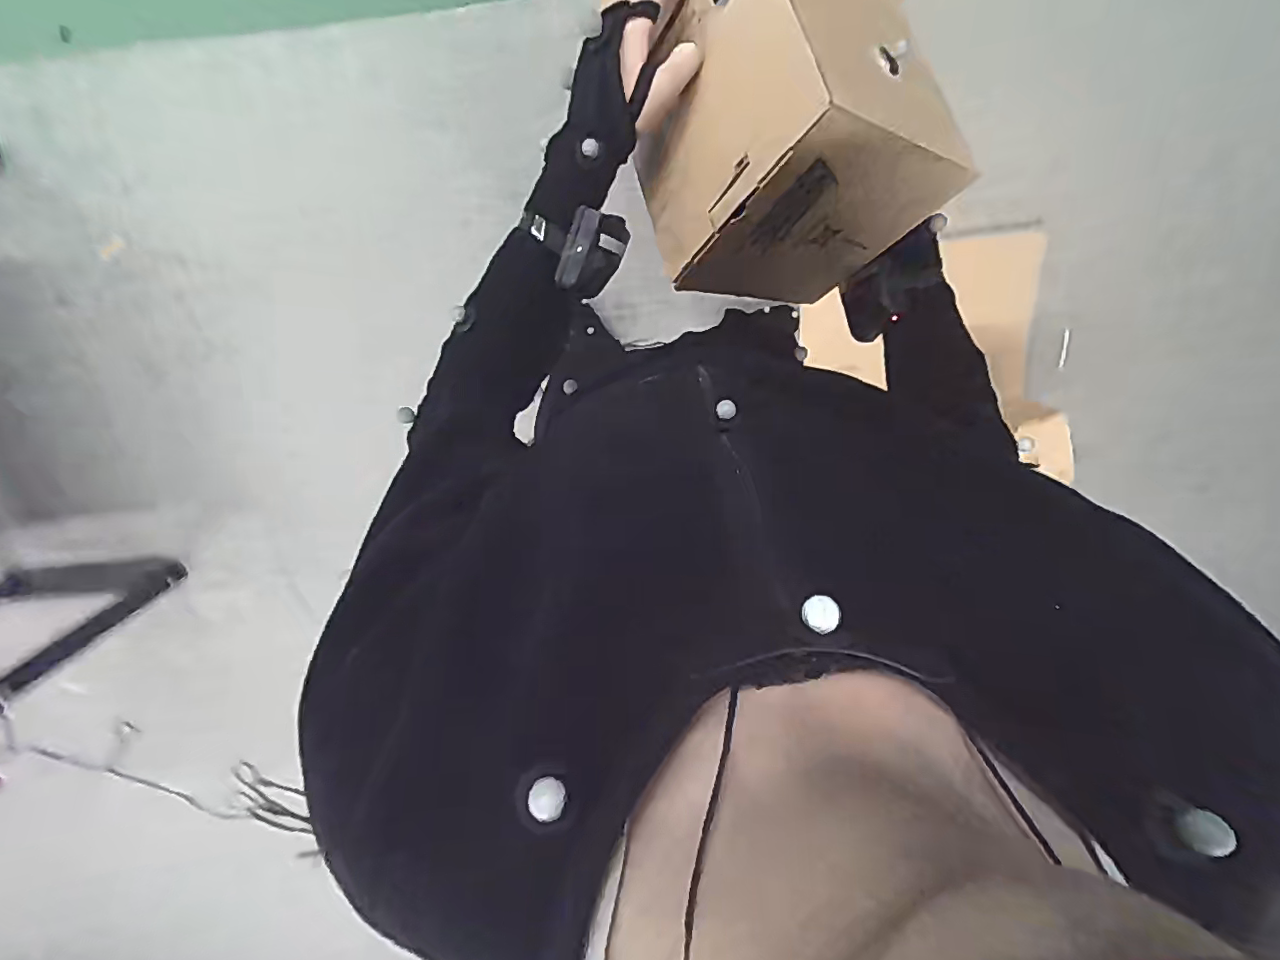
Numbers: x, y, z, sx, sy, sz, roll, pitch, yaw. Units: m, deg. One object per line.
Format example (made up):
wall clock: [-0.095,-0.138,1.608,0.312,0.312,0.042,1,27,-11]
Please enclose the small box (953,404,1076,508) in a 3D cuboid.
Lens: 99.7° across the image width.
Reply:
small box: [0.866,-0.066,1.266,0.168,0.176,0.179,-22,110,7]
